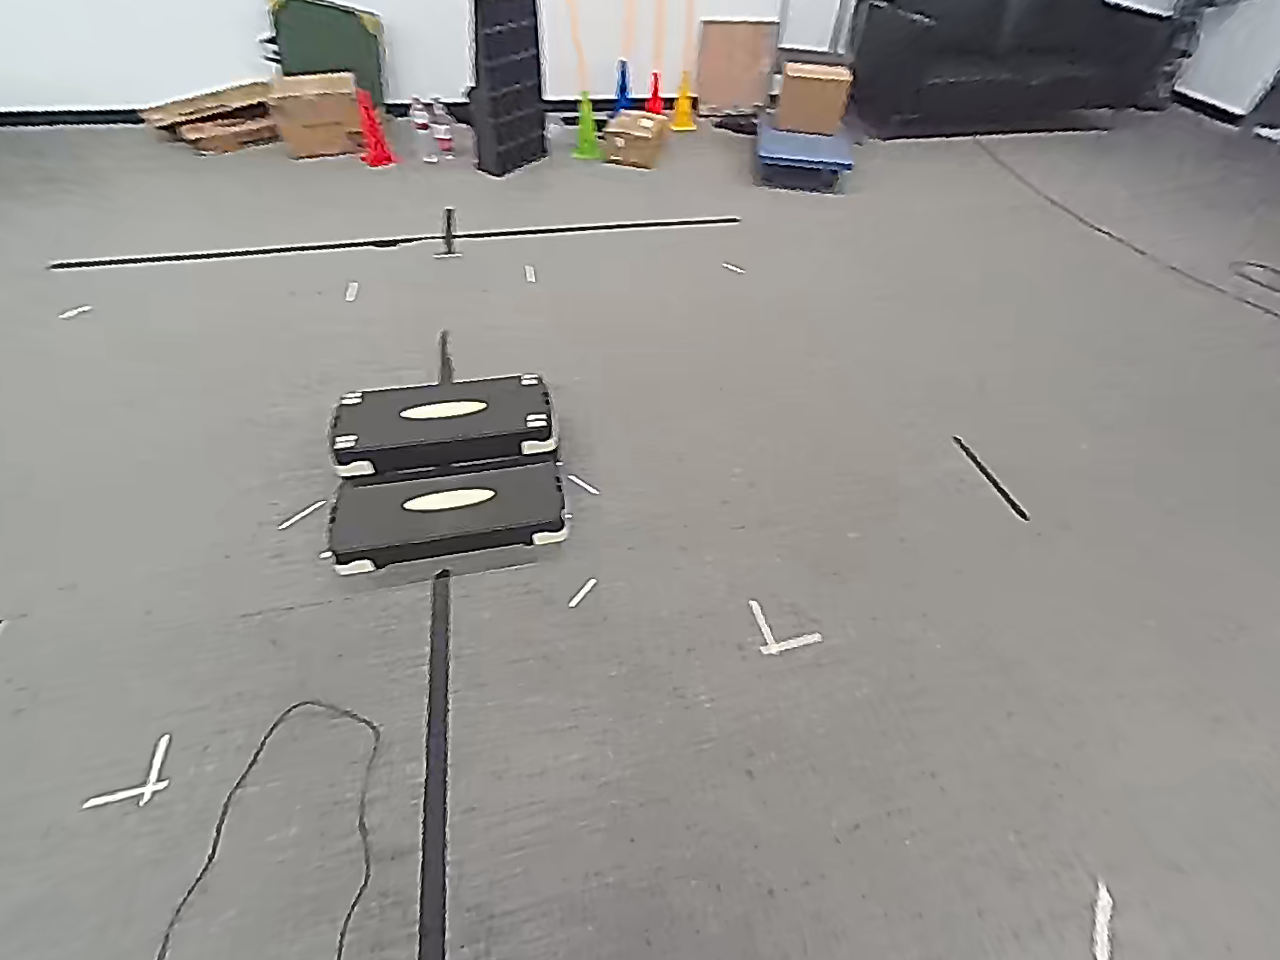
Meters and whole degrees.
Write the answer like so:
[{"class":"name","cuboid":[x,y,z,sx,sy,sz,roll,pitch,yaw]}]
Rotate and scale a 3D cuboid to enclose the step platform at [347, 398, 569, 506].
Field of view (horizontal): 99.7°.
[{"class":"step platform","cuboid":[-0.582,-0.104,1.790,0.684,0.204,0.286,-4,49,-8]}]
